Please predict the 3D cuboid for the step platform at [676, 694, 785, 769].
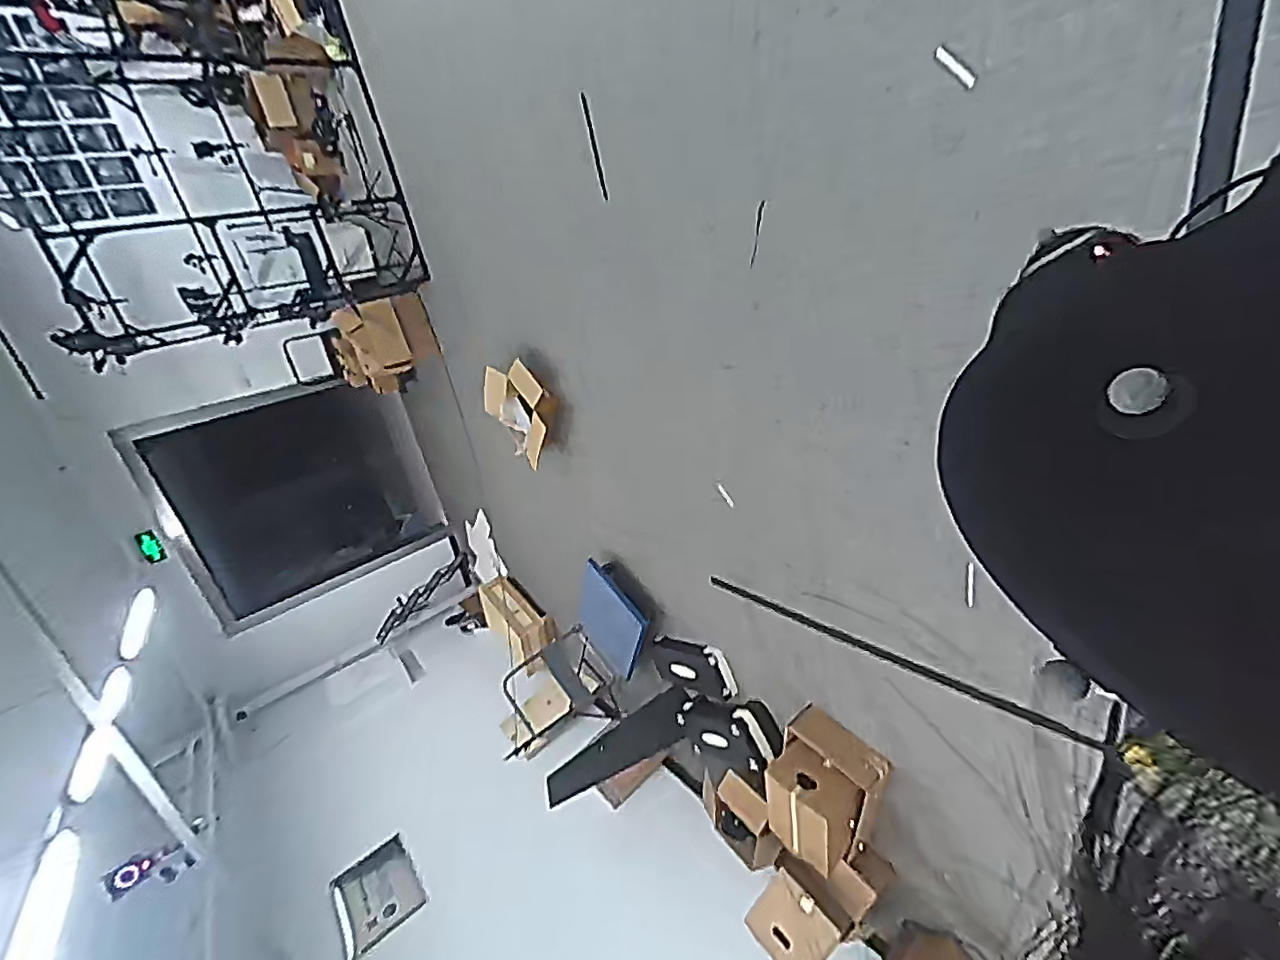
[{"bbox_3d":[0.479,1.392,3.015,0.286,0.204,0.684,61,148,3],"label":"step platform"}]
